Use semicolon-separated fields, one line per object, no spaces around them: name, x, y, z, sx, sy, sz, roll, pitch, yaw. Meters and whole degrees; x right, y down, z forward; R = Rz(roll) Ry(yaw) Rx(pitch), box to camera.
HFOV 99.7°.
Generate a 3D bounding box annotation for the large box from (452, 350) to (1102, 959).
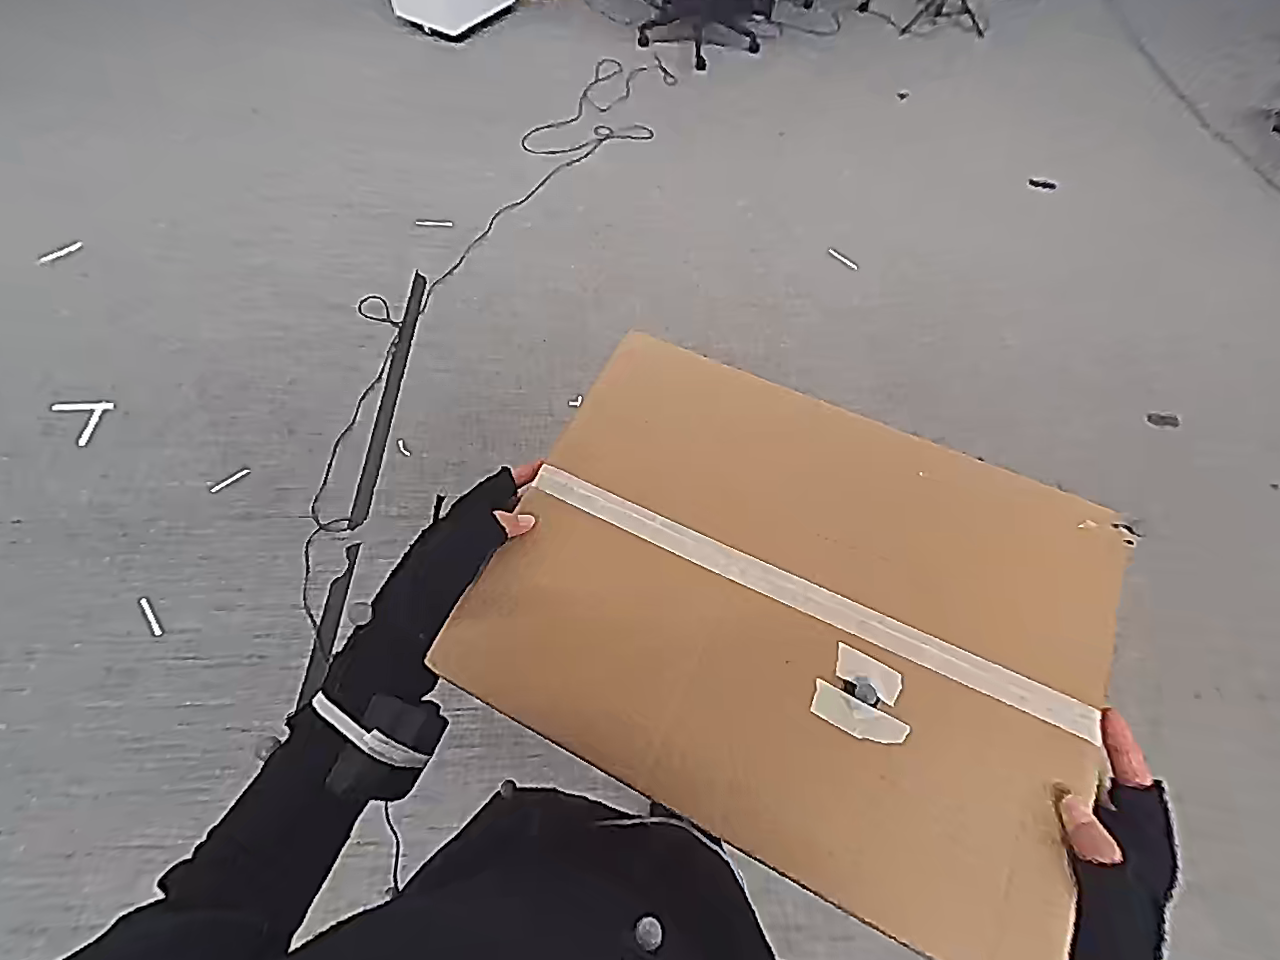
large box;0.110;0.141;0.530;0.408;0.320;0.320;24;70;12
